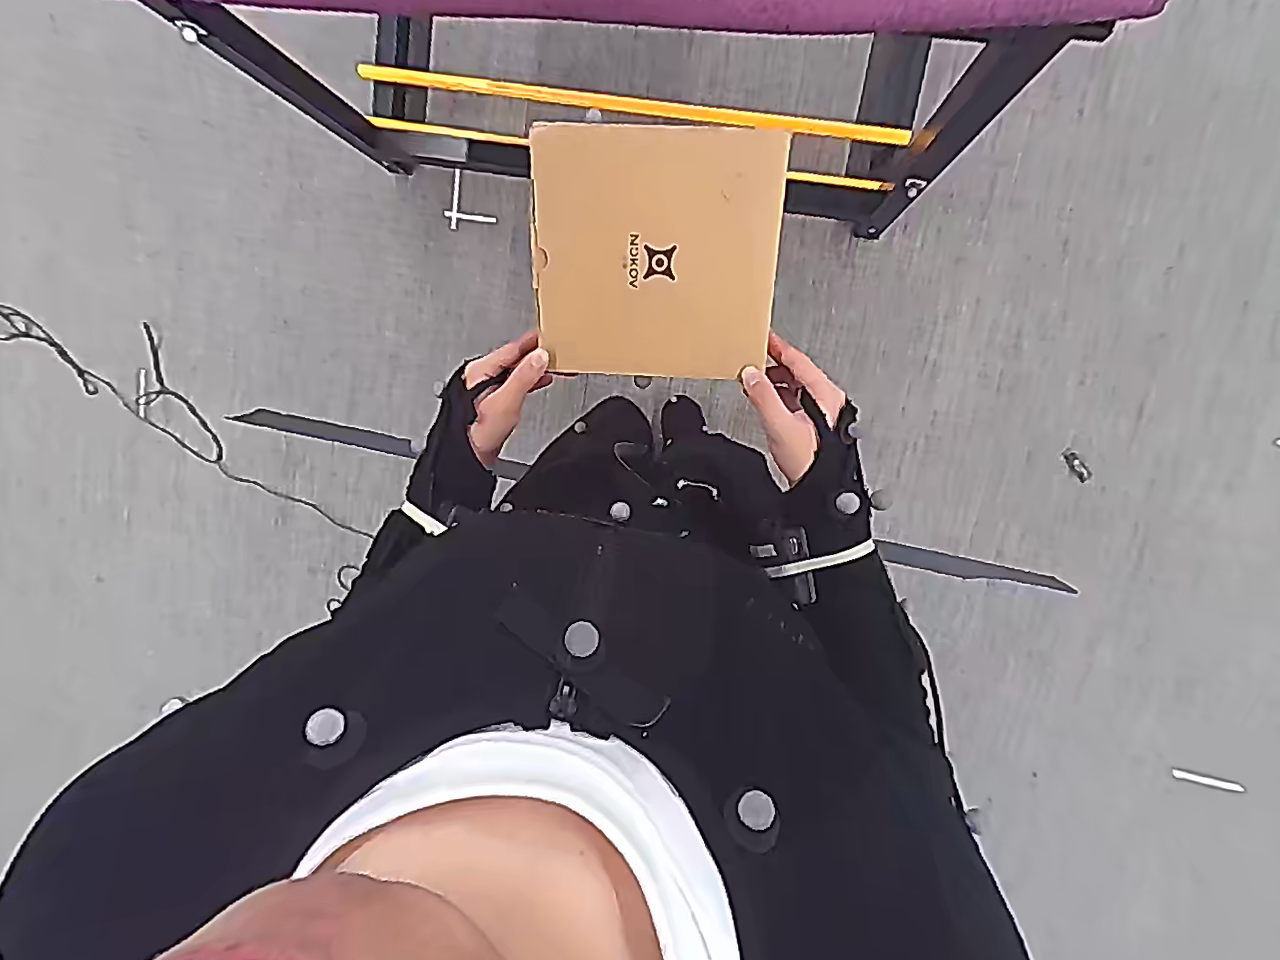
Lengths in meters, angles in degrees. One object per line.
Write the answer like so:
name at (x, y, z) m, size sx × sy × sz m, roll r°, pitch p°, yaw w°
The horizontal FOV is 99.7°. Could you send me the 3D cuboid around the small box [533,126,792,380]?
small box at (0.018, -0.187, 0.461) m, size 0.179 × 0.176 × 0.168 m, roll 4°, pitch 112°, yaw 5°
